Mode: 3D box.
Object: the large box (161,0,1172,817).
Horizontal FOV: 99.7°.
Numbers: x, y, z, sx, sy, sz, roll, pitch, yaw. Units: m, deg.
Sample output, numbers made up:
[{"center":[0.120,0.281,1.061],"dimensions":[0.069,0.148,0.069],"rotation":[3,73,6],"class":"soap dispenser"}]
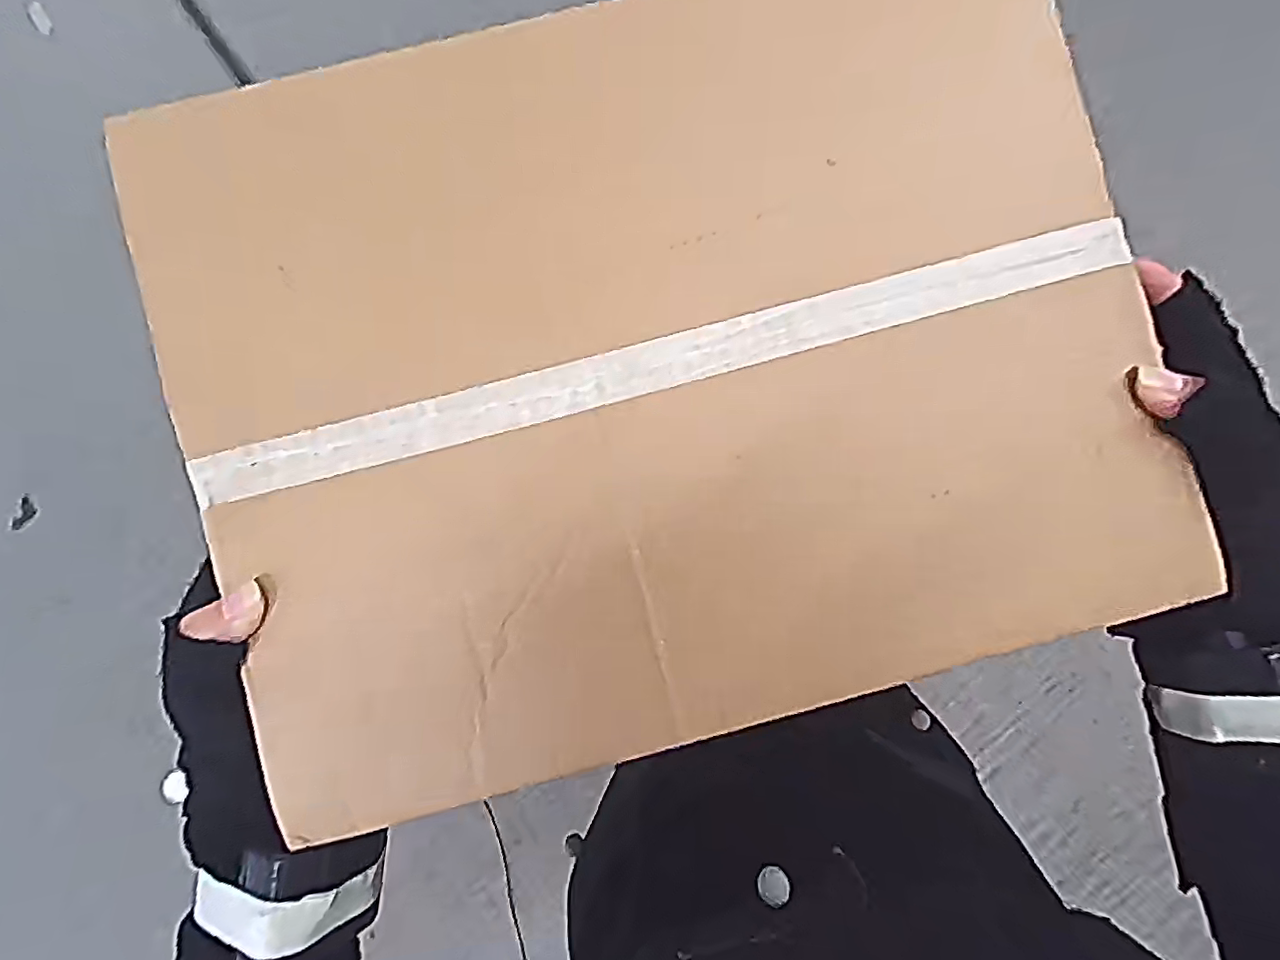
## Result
[{"center":[0.013,-0.048,0.391],"dimensions":[0.408,0.320,0.320],"rotation":[-14,88,-1],"class":"large box"}]
